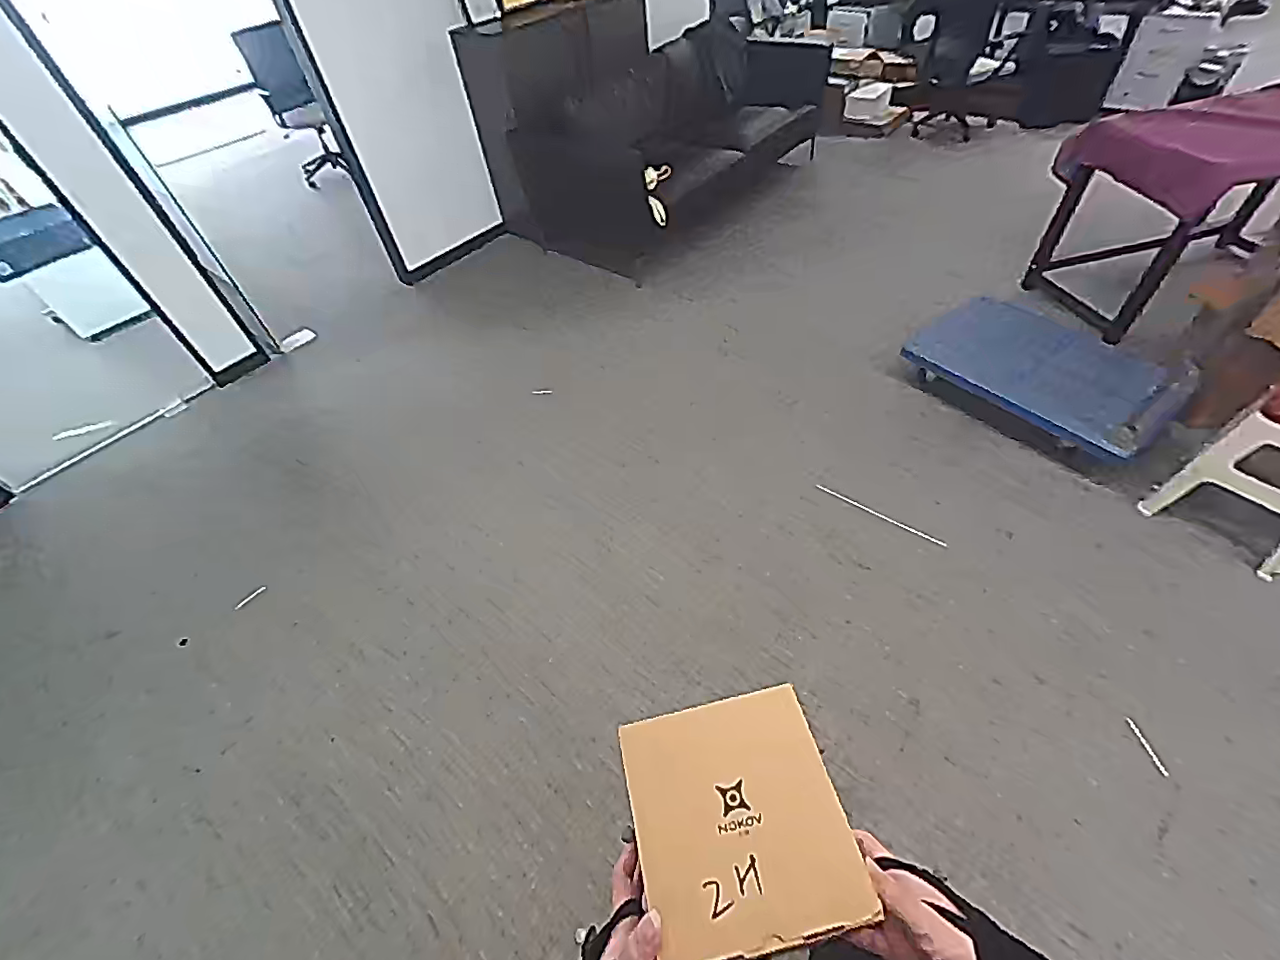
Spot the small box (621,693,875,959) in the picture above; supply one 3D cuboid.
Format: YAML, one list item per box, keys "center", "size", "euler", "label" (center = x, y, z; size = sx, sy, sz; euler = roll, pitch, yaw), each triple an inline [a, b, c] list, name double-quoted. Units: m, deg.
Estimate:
- center: [0.084, 0.330, 0.499]
  size: [0.168, 0.176, 0.179]
  euler: [-13, 46, -3]
  label: "small box"

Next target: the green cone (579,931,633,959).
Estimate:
- center: [-0.089, 1.030, 1.033]
  size: [0.202, 0.368, 0.200]
  euler: [32, 60, 28]
  label: "green cone"
